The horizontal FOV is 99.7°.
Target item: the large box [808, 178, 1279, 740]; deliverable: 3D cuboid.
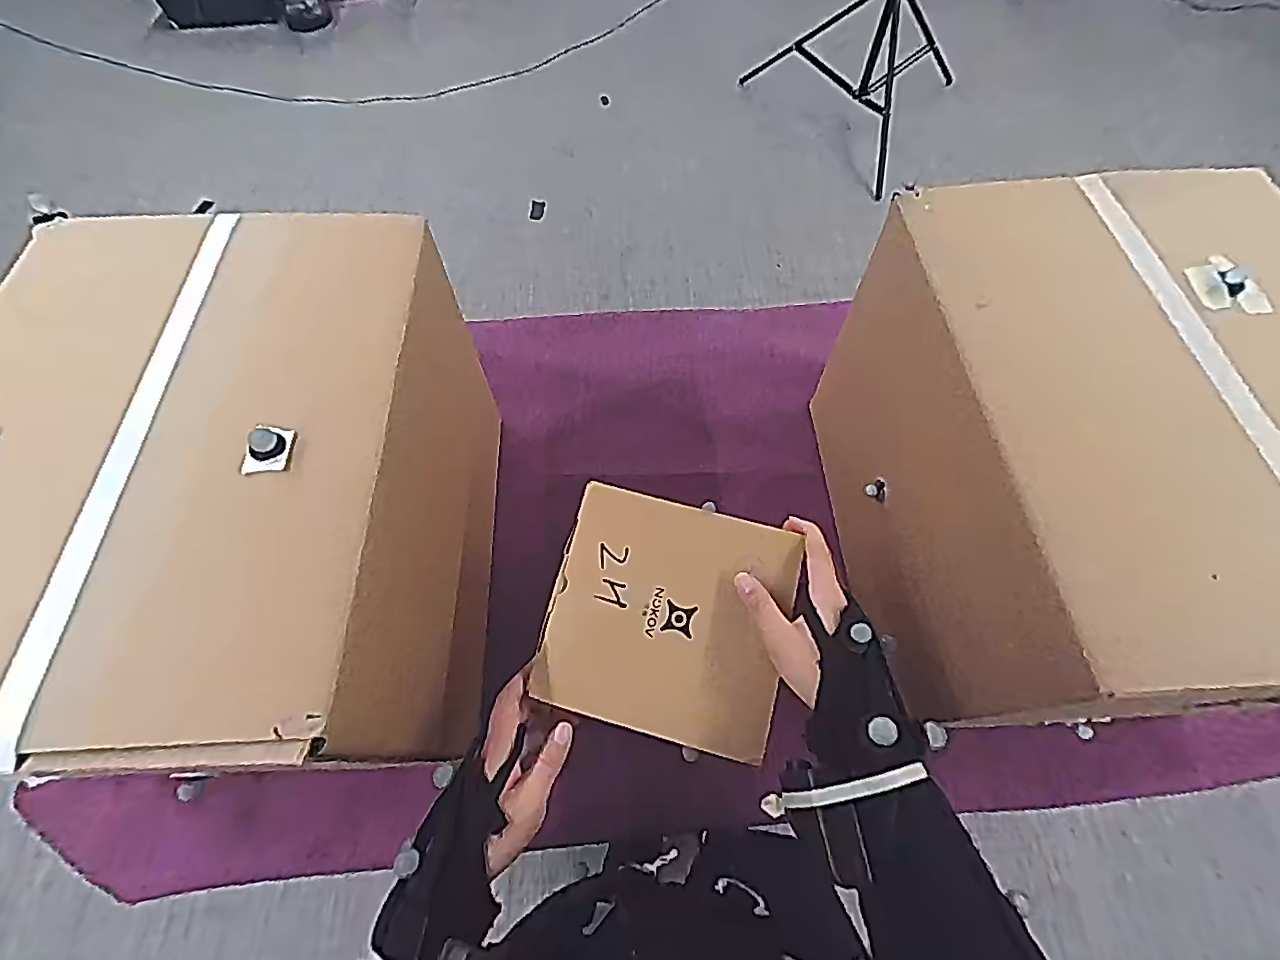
[{"bbox_3d":[0.377,-0.001,0.496,0.320,0.320,0.408,-3,61,-1],"label":"large box"}]
